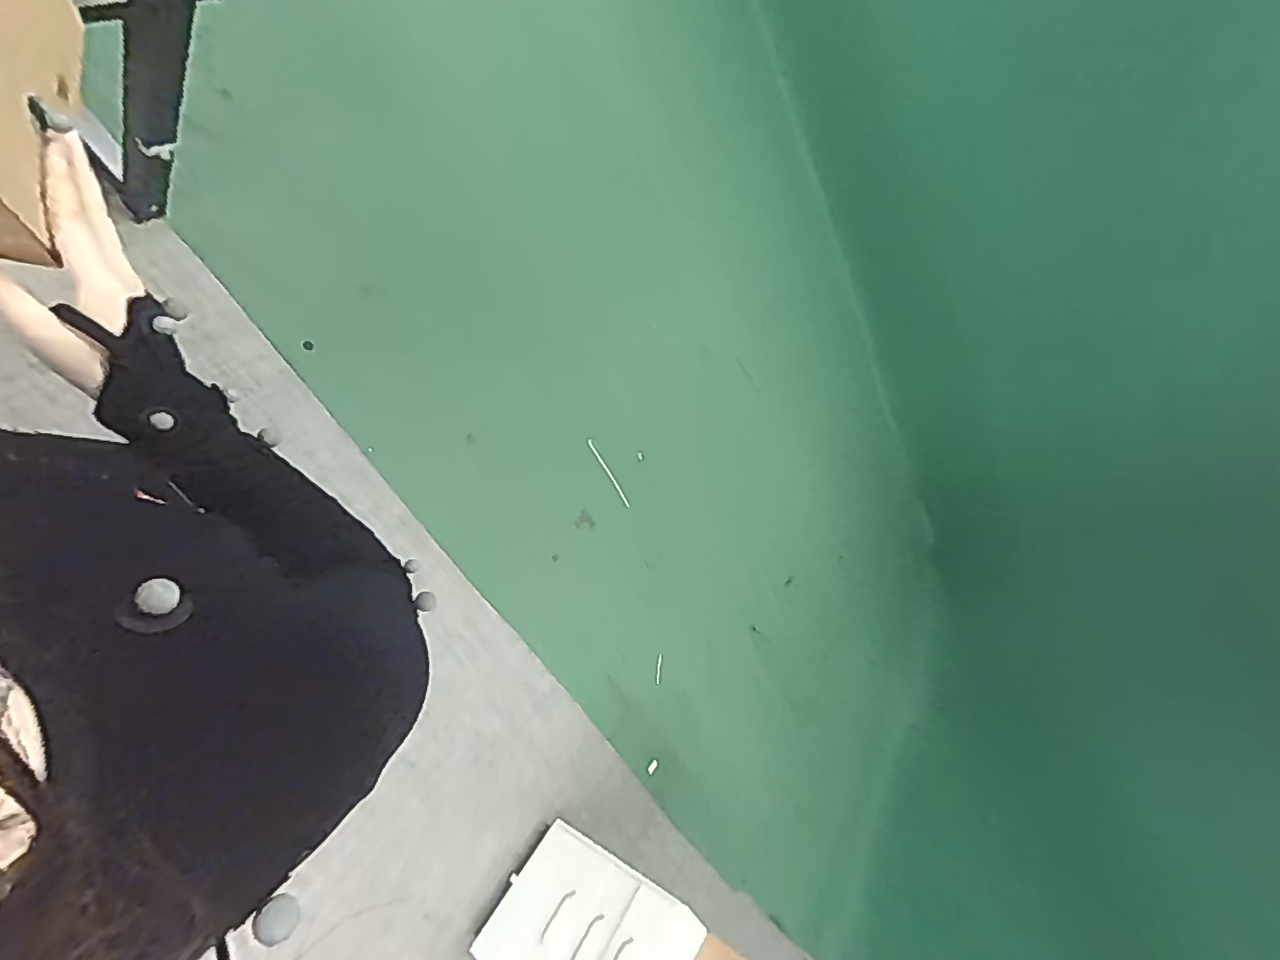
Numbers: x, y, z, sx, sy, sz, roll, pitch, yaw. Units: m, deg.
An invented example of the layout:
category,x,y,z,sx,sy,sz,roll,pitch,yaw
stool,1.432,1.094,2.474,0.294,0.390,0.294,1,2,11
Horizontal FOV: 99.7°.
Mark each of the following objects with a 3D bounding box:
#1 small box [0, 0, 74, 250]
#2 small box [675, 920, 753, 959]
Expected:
category,x,y,z,sx,sy,sz,roll,pitch,yaw
small box,-0.392,-0.222,0.229,0.179,0.176,0.168,2,88,-35
small box,0.190,1.276,1.368,0.179,0.176,0.168,-47,120,-34
